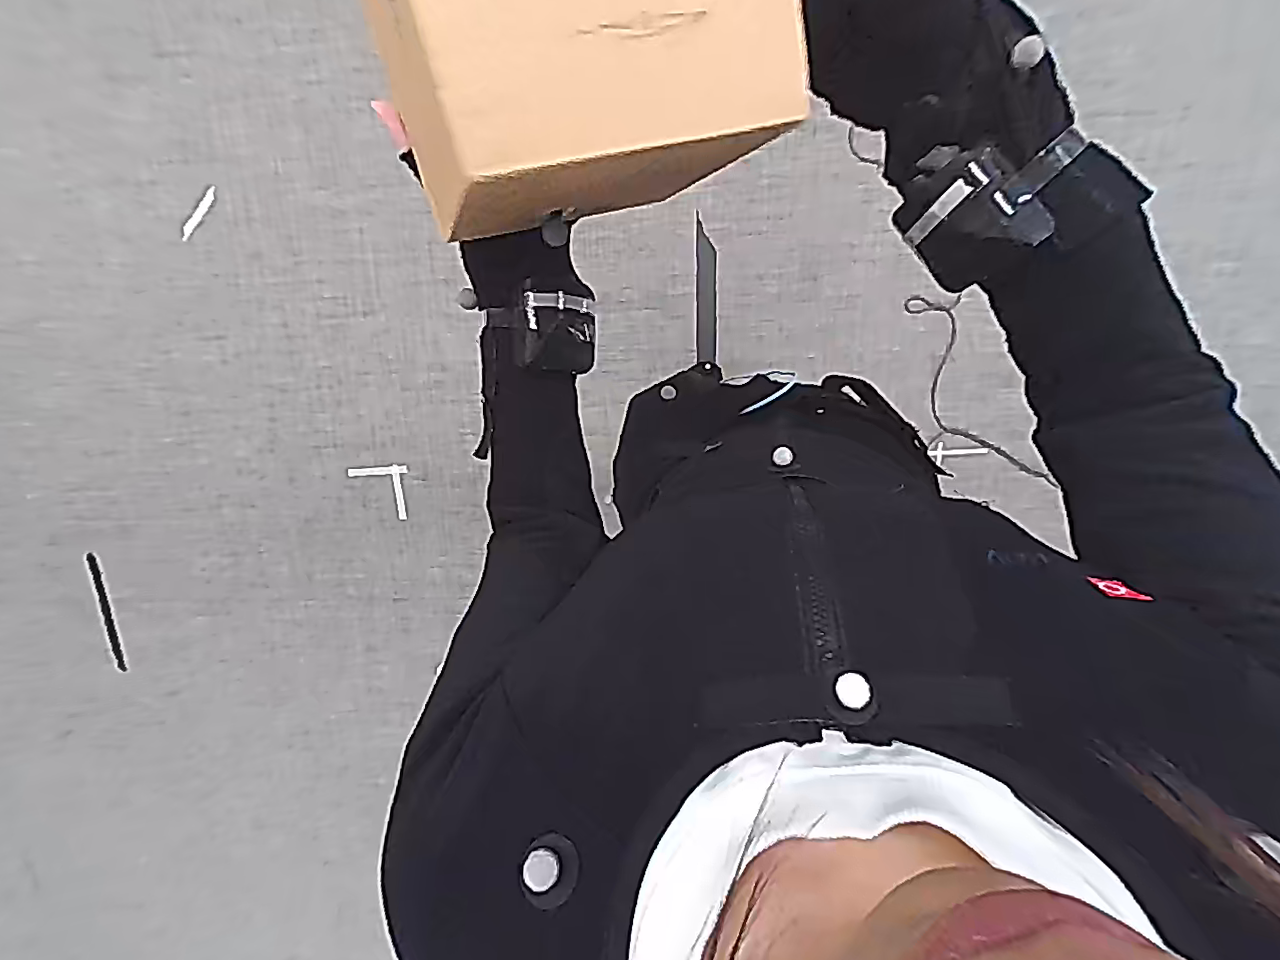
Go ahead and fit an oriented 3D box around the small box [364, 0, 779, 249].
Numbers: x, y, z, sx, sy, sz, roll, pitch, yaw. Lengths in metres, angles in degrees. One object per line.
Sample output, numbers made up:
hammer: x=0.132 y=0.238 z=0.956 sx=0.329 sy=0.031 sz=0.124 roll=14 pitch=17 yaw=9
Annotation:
small box: x=-0.052 y=-0.245 z=0.294 sx=0.168 sy=0.176 sz=0.179 roll=-19 pitch=109 yaw=-15
